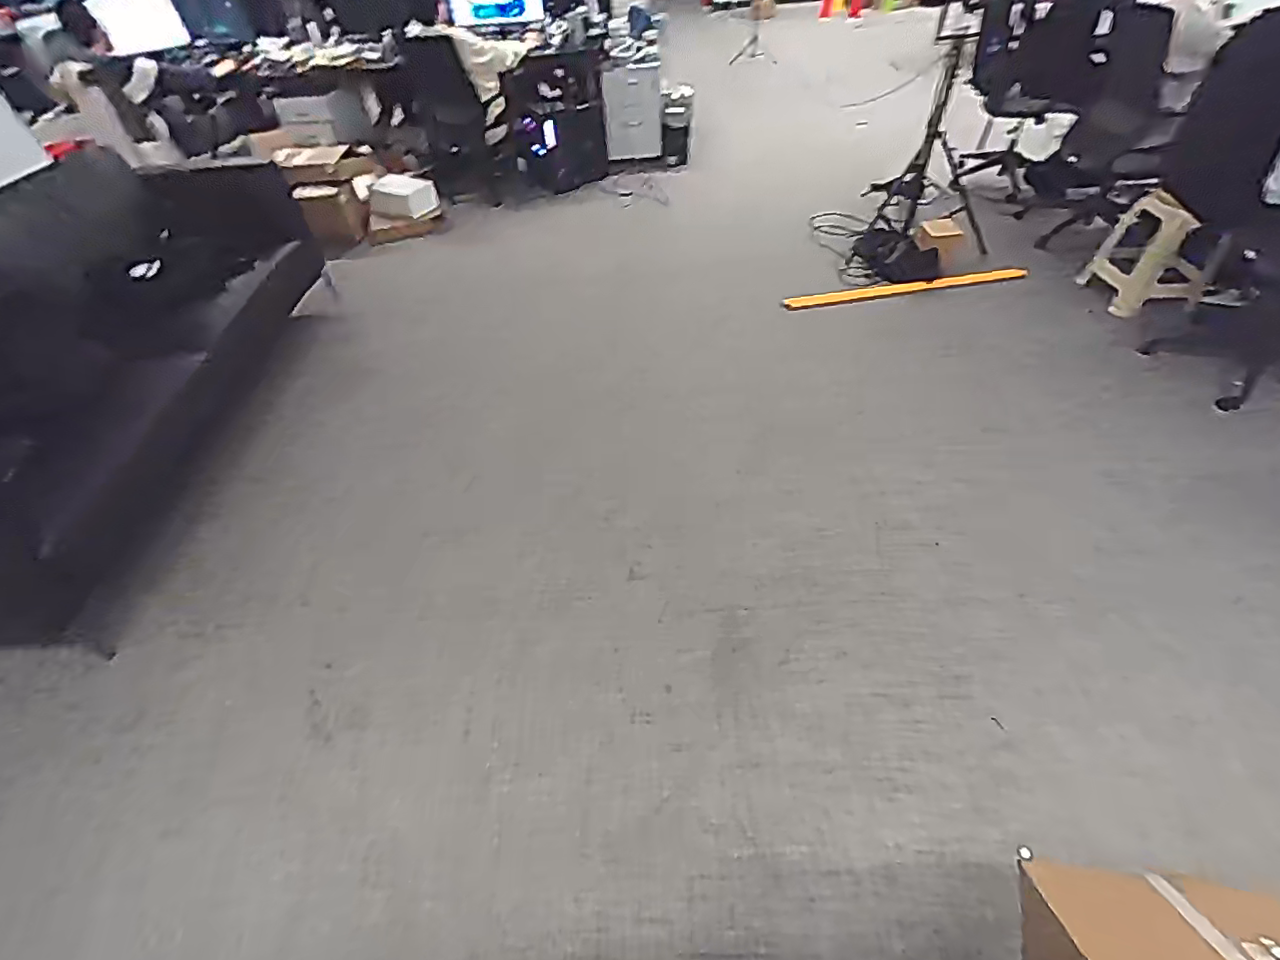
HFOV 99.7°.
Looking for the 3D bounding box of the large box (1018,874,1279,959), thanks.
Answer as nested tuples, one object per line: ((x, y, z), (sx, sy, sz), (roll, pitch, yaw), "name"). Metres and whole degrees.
((0.649, 0.704, 0.543), (0.320, 0.408, 0.320), (0, 88, 13), "large box")
